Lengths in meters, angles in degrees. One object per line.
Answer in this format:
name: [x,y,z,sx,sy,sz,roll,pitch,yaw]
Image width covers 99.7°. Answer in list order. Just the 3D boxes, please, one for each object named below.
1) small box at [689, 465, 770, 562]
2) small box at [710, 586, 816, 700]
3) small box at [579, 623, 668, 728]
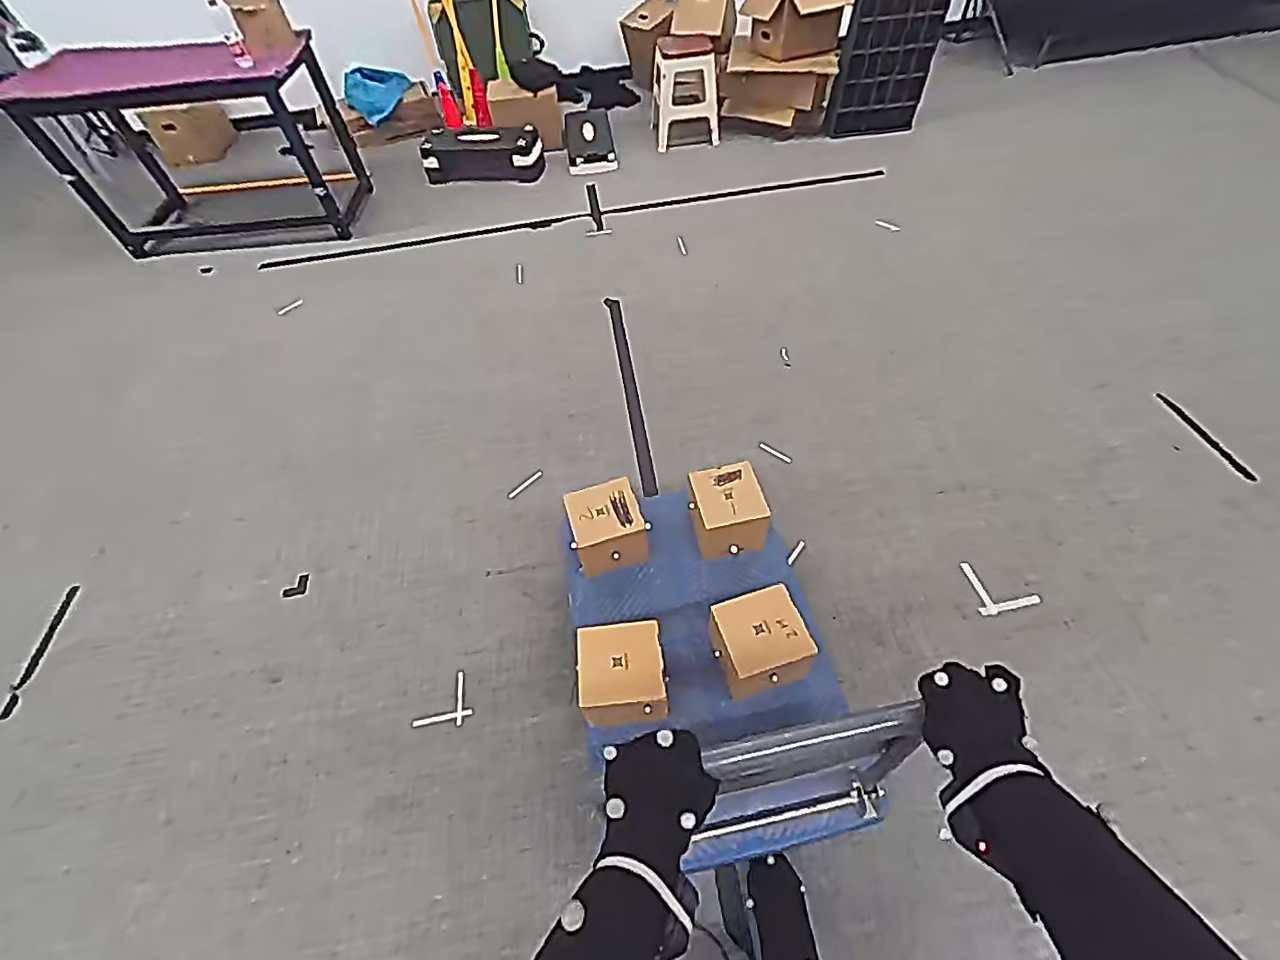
small box: [0.226,0.090,1.419,0.168,0.176,0.179,-12,54,-4]
small box: [0.266,0.368,1.206,0.179,0.176,0.168,-16,53,-7]
small box: [-0.034,0.432,1.185,0.179,0.176,0.168,-6,52,-2]
